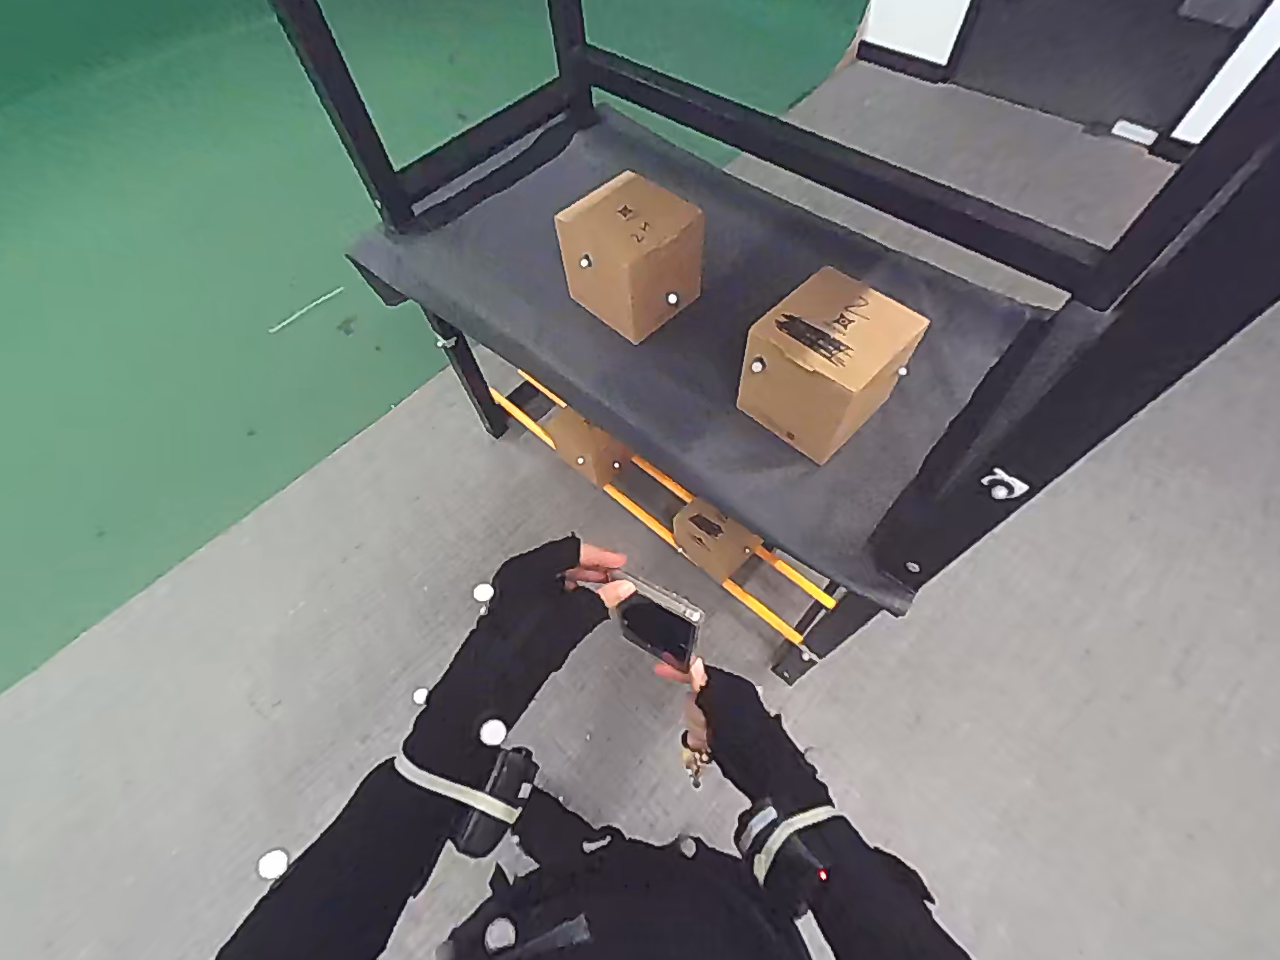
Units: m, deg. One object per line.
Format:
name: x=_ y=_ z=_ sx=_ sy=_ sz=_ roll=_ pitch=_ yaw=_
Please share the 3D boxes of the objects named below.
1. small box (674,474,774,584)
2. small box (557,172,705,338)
small box: x=0.203 y=0.127 z=1.331 sx=0.179 sy=0.176 sz=0.168 roll=-42 pitch=66 yaw=-18
small box: x=-0.012 y=-0.373 z=0.911 sx=0.168 sy=0.176 sz=0.179 roll=-42 pitch=66 yaw=-18
